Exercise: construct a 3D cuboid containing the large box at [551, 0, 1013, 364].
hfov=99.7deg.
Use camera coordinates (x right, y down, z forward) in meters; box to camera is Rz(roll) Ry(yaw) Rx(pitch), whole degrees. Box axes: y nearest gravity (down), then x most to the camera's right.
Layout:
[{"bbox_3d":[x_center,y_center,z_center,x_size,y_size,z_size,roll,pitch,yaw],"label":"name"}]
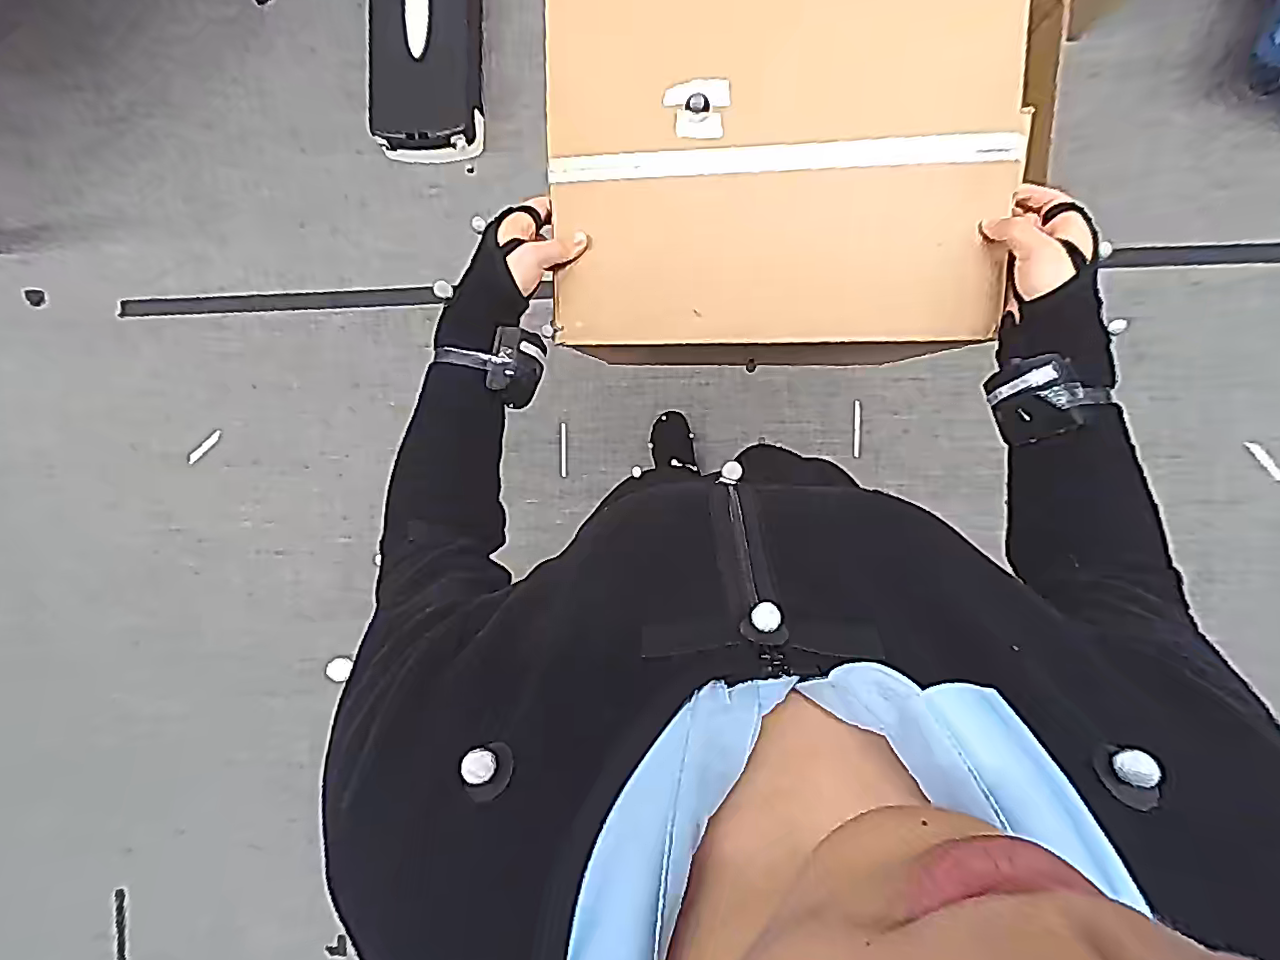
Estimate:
[{"bbox_3d":[0.138,-0.307,0.636,0.408,0.320,0.320,1,97,8],"label":"large box"}]
